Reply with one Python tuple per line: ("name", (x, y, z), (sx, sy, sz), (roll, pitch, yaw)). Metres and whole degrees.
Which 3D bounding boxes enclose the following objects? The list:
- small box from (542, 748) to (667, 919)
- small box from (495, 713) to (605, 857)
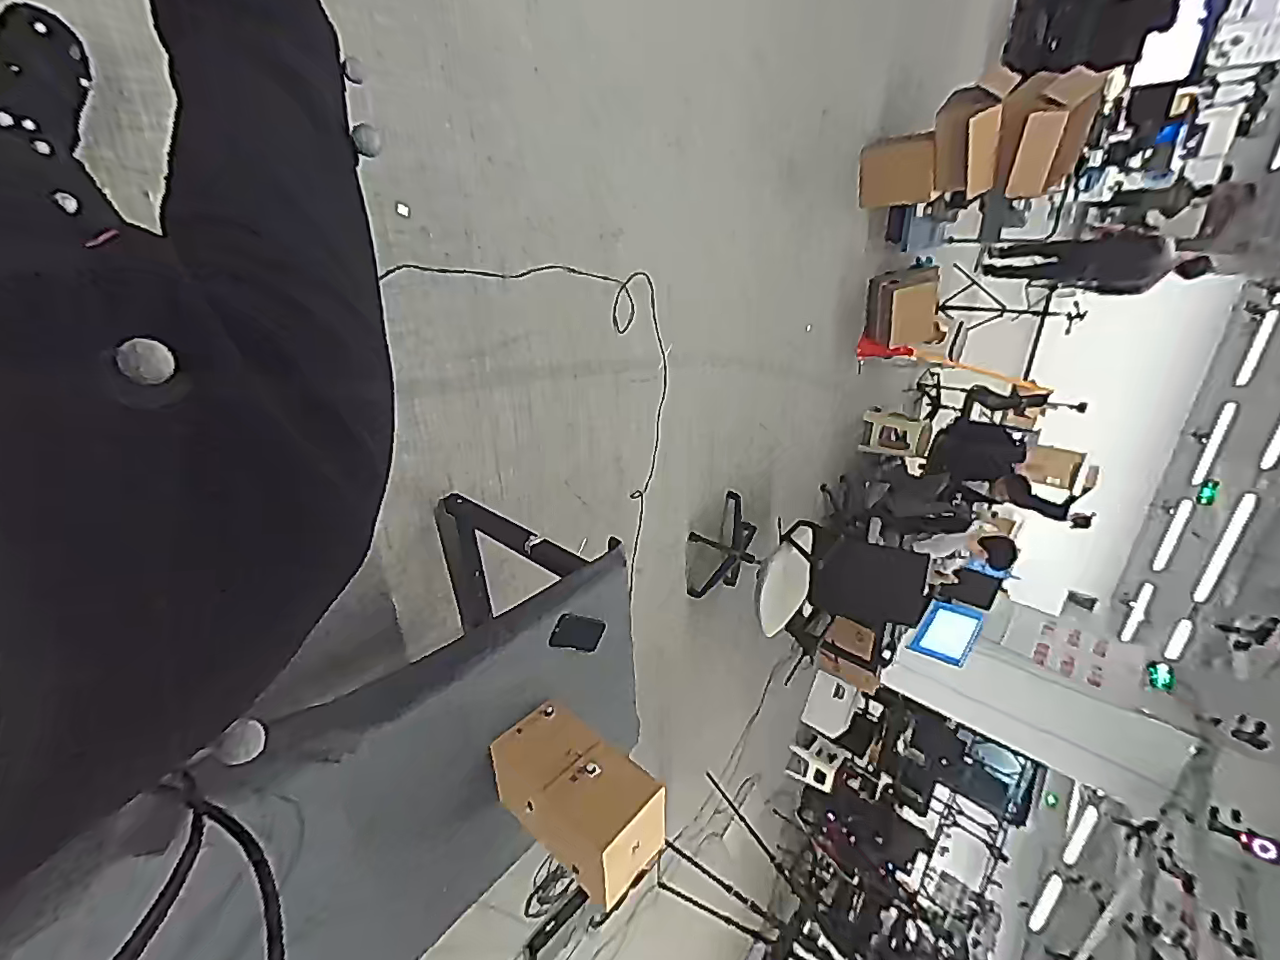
("small box", (-0.065, 0.657, 1.026), (0.168, 0.176, 0.179), (-27, 124, -42))
("small box", (-0.185, 0.619, 1.129), (0.168, 0.176, 0.179), (-26, 124, -42))
